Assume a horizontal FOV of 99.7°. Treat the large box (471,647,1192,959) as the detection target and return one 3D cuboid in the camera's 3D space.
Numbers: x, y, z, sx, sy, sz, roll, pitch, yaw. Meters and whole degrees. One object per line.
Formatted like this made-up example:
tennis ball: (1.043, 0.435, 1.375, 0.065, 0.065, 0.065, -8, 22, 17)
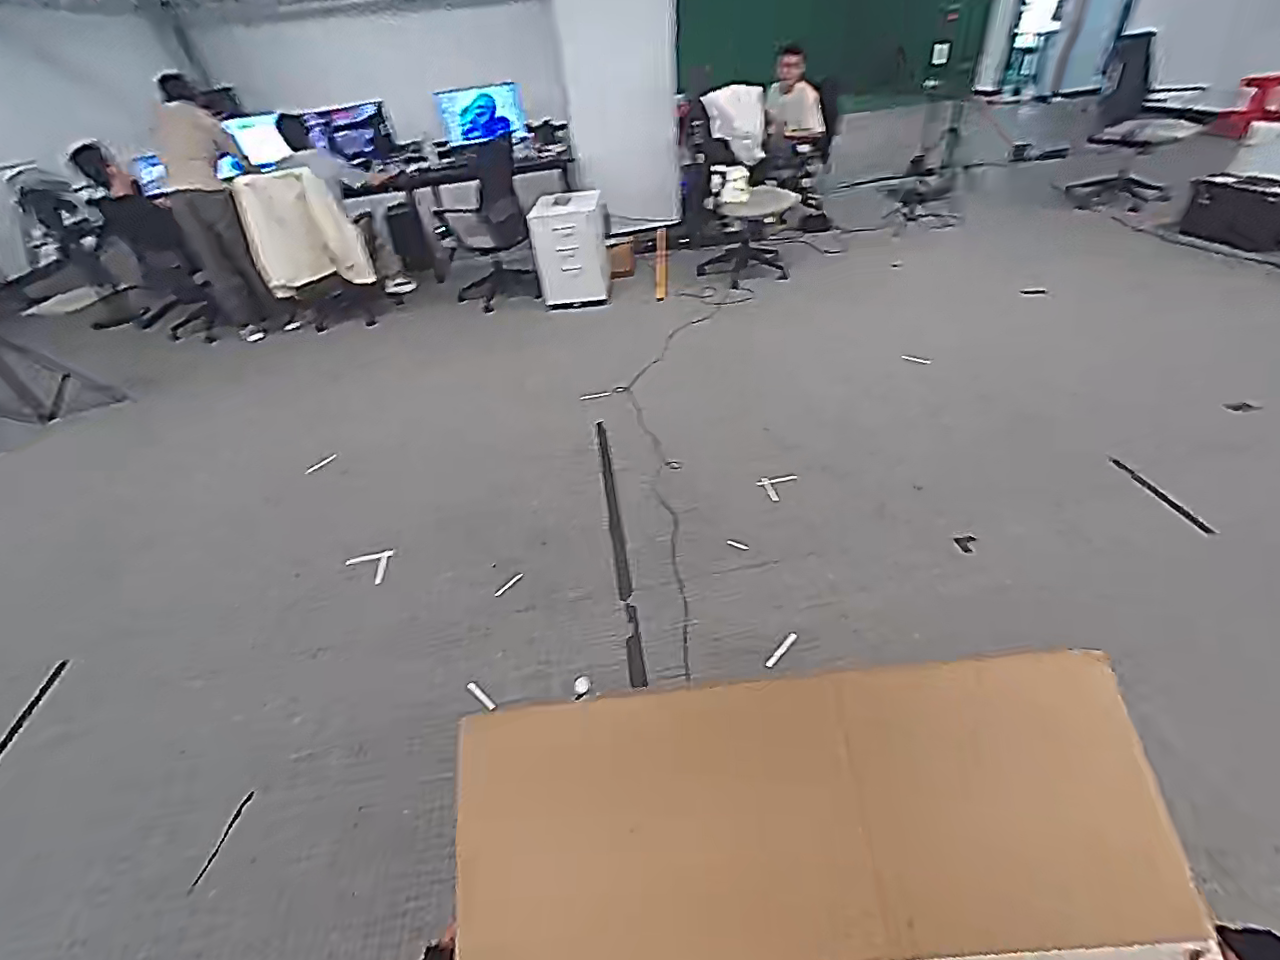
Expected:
large box: (0.112, 0.328, 0.441, 0.408, 0.320, 0.320, -8, 70, 3)
